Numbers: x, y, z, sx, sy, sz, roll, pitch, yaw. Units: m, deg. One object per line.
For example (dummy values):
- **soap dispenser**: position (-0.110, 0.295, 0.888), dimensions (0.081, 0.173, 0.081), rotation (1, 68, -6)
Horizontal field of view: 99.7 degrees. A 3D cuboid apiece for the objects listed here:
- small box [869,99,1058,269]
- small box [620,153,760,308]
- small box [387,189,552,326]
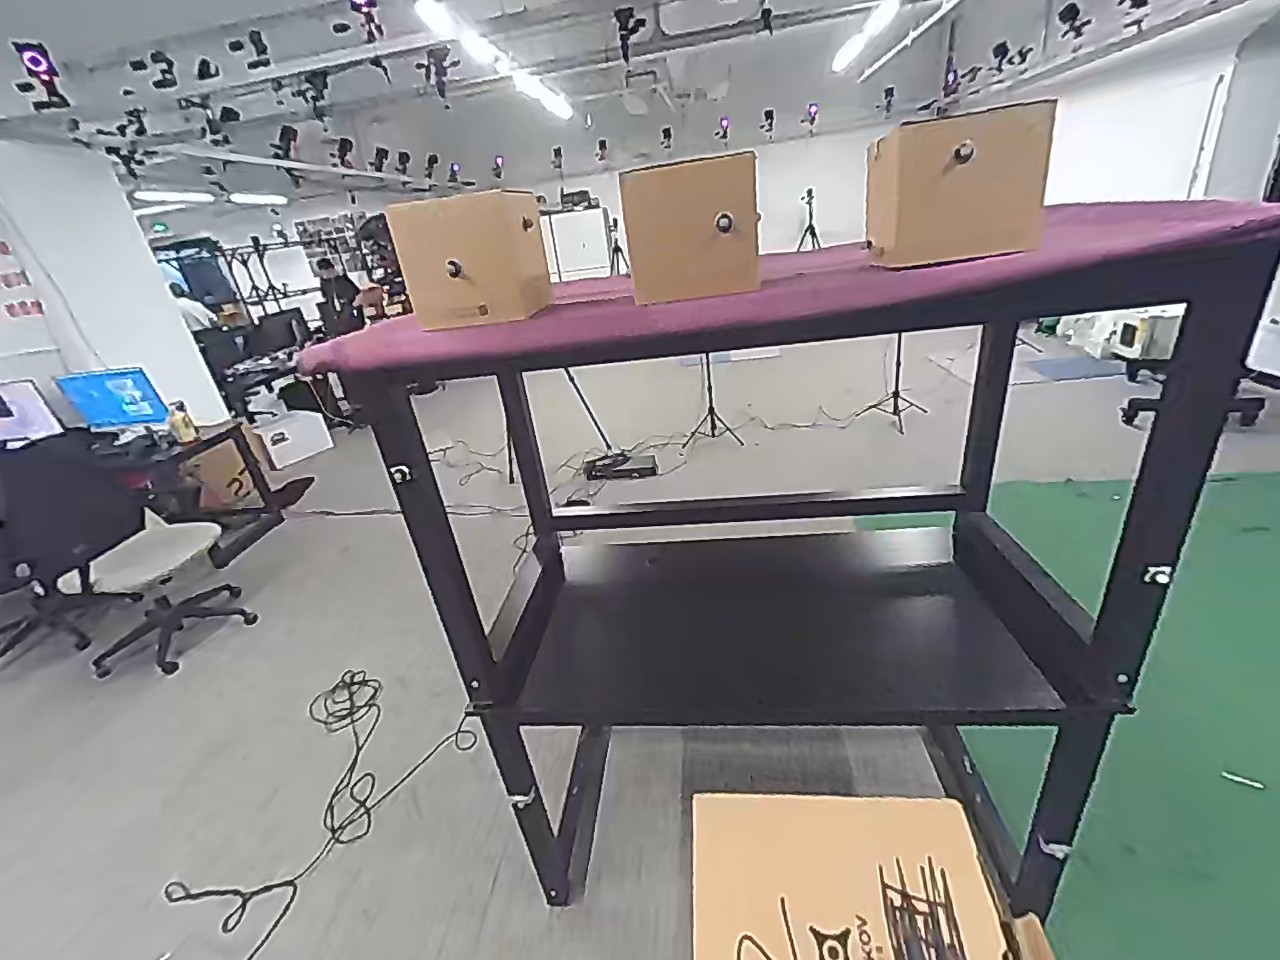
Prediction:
- **small box**: position (0.423, -0.390, 0.741), dimensions (0.179, 0.176, 0.168), rotation (-3, 24, 10)
- **small box**: position (0.078, -0.354, 0.777), dimensions (0.179, 0.176, 0.168), rotation (-5, 25, 8)
- **small box**: position (-0.240, -0.332, 0.817), dimensions (0.168, 0.176, 0.179), rotation (-3, 26, 8)
